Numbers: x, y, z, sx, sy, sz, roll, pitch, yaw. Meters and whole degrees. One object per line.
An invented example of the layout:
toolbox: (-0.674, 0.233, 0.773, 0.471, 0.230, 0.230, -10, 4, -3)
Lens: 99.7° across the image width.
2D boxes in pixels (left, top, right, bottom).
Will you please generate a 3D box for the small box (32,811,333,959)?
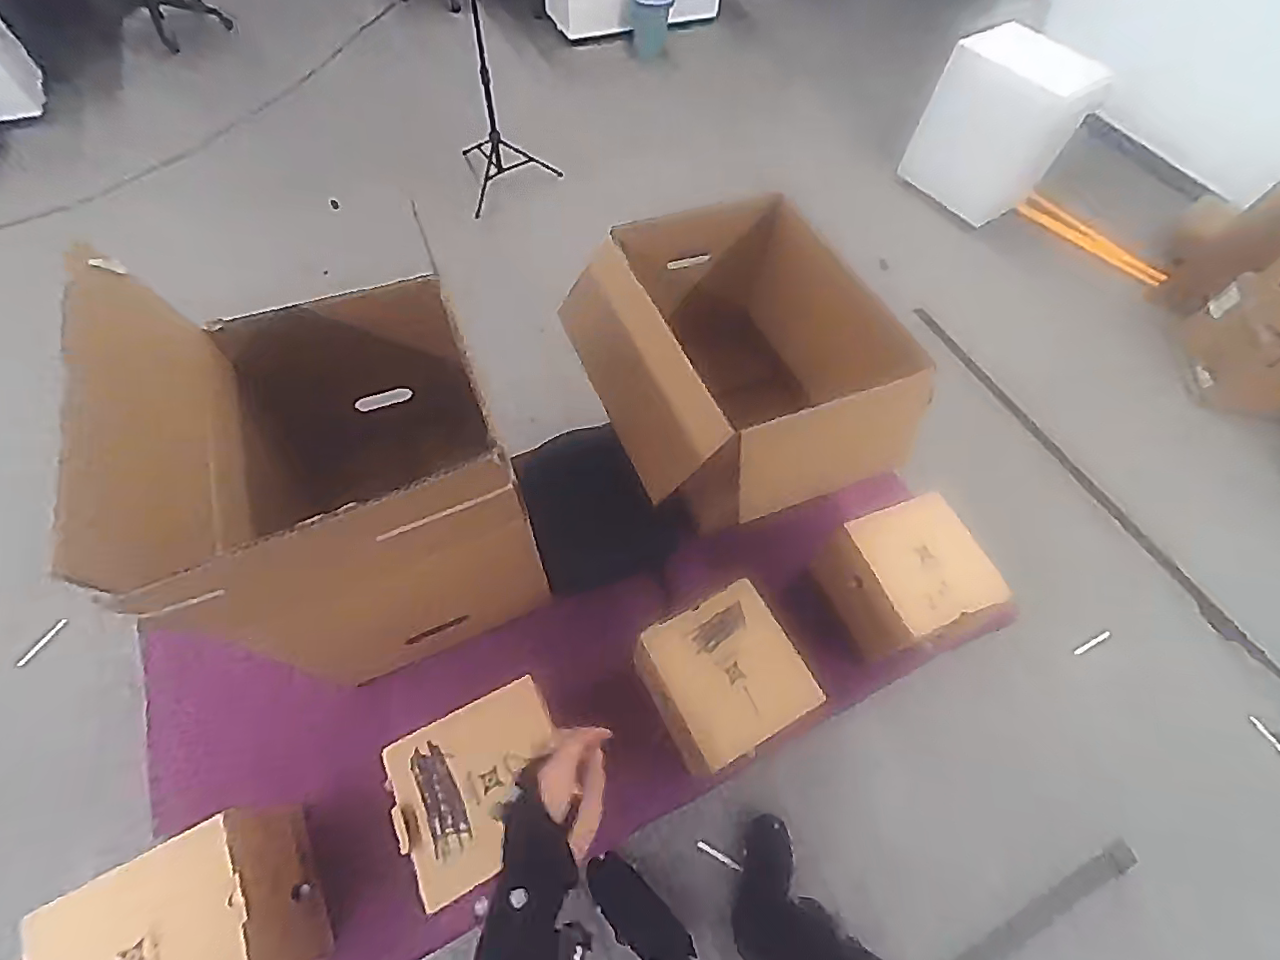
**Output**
small box: (-0.463, 0.480, 0.569, 0.179, 0.176, 0.168, -25, 64, -18)

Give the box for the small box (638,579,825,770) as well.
small box: (0.106, 0.265, 0.725, 0.168, 0.176, 0.179, -24, 66, -15)
